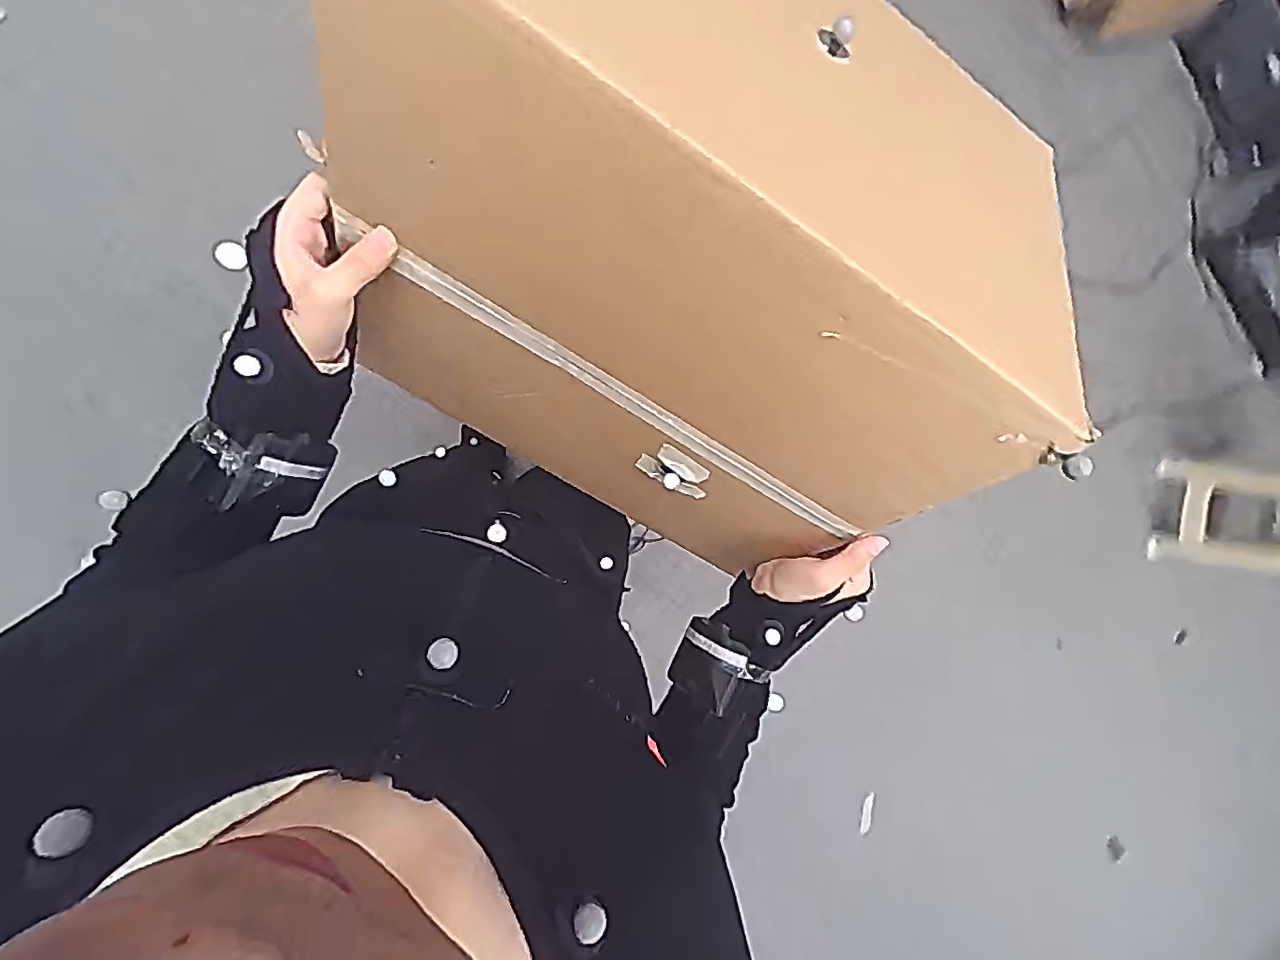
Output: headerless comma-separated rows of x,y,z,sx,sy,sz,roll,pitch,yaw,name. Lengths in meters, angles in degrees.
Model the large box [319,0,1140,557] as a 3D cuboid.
0.048,-0.195,0.414,0.408,0.320,0.320,28,60,-11,large box
